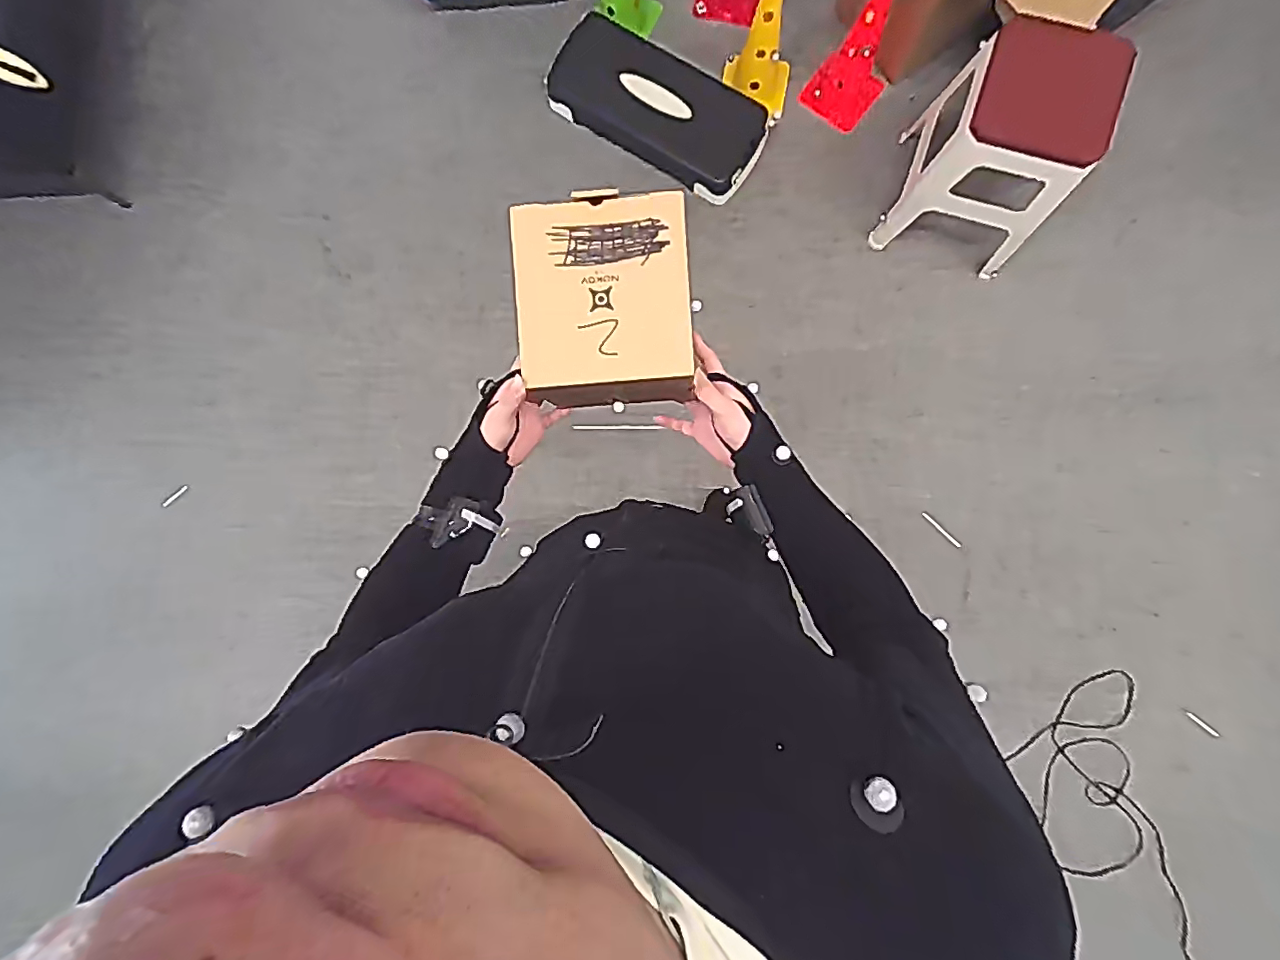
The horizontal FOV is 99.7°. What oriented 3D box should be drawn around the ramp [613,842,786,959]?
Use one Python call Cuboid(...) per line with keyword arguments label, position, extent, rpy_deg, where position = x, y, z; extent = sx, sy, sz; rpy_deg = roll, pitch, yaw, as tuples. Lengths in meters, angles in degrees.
Cuboid(label="ramp", position=(0.165, 1.559, 1.483), extent=(0.509, 0.206, 0.991), rpy_deg=(-3, 87, 5))
